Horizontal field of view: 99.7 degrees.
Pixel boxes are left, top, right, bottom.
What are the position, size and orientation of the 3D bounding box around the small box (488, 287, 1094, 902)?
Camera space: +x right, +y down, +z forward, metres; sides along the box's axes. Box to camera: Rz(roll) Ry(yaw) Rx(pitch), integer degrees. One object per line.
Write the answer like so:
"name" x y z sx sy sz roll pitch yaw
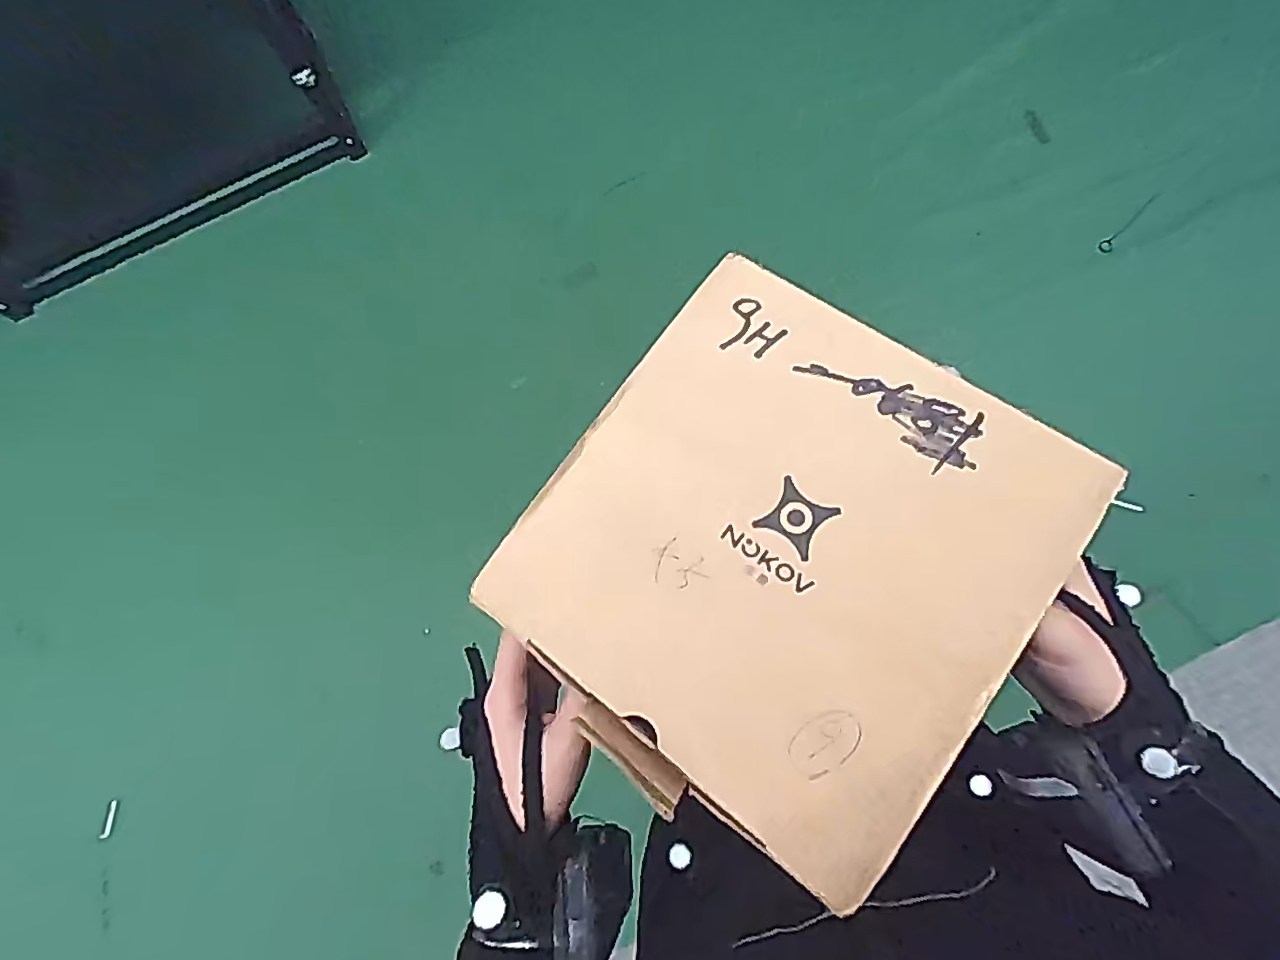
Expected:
"small box" 0.062 0.047 0.283 0.168 0.176 0.179 35 84 13
